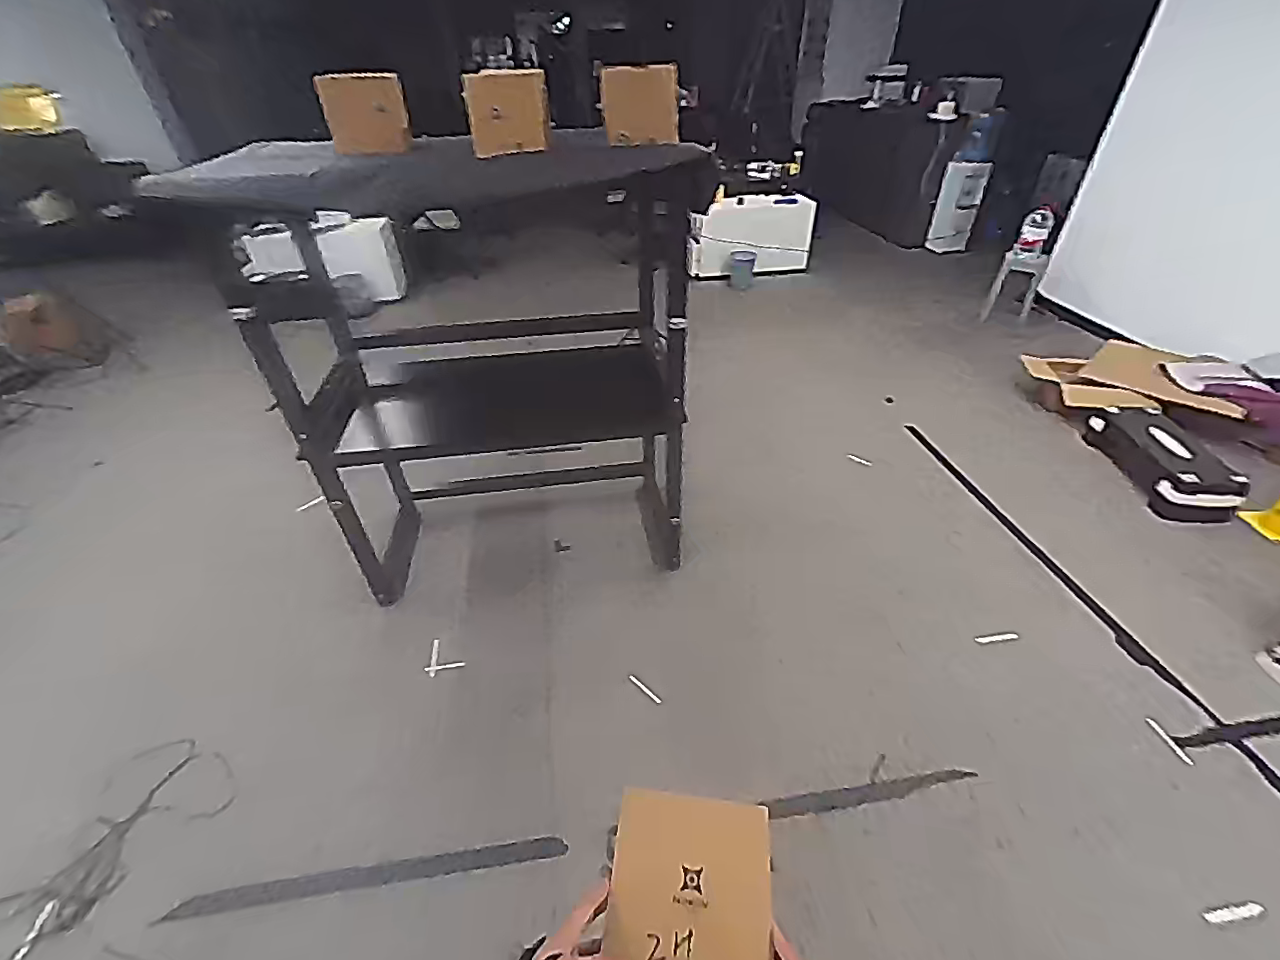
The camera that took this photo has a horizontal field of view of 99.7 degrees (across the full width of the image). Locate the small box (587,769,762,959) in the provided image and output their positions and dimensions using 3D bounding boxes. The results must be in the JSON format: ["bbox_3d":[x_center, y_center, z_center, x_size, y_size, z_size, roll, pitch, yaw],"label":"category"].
[{"bbox_3d":[0.040,0.457,0.608,0.168,0.176,0.179,6,45,5],"label":"small box"}]

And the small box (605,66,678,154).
[{"bbox_3d":[0.003,-0.910,1.337,0.168,0.176,0.179,-5,35,-4],"label":"small box"}]

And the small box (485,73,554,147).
[{"bbox_3d":[-0.335,-1.044,1.528,0.168,0.176,0.179,-7,37,-6],"label":"small box"}]

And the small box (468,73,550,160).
[{"bbox_3d":[-0.313,-0.889,1.328,0.168,0.176,0.179,-6,36,-6],"label":"small box"}]
